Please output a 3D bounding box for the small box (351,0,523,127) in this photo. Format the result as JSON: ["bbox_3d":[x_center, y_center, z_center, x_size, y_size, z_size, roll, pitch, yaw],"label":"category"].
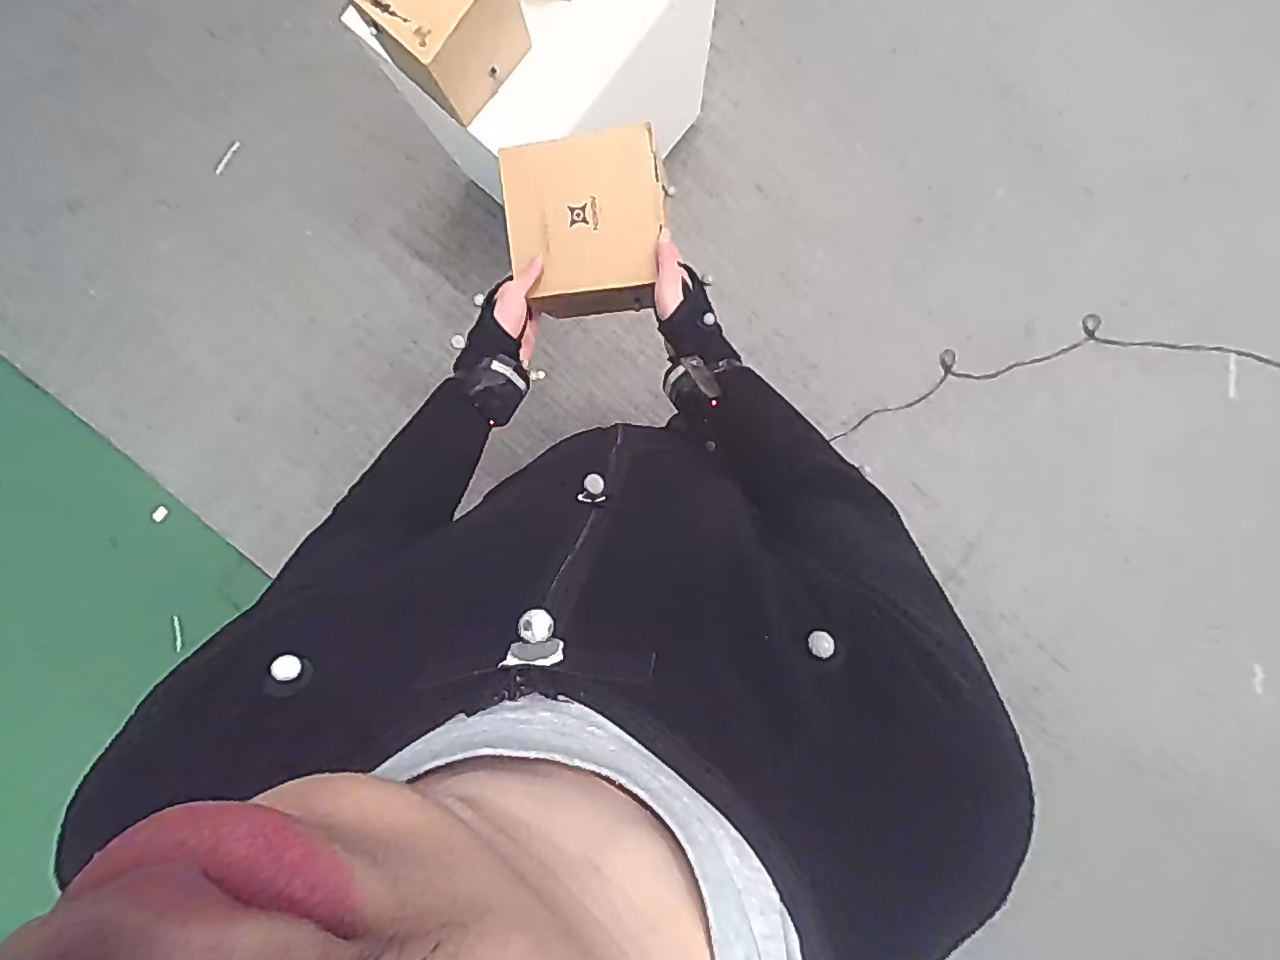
[{"bbox_3d":[-0.293,-0.684,0.799,0.168,0.176,0.179,42,95,-3],"label":"small box"}]

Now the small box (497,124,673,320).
[{"bbox_3d":[-0.053,-0.299,0.666,0.179,0.176,0.168,-4,97,10],"label":"small box"}]
